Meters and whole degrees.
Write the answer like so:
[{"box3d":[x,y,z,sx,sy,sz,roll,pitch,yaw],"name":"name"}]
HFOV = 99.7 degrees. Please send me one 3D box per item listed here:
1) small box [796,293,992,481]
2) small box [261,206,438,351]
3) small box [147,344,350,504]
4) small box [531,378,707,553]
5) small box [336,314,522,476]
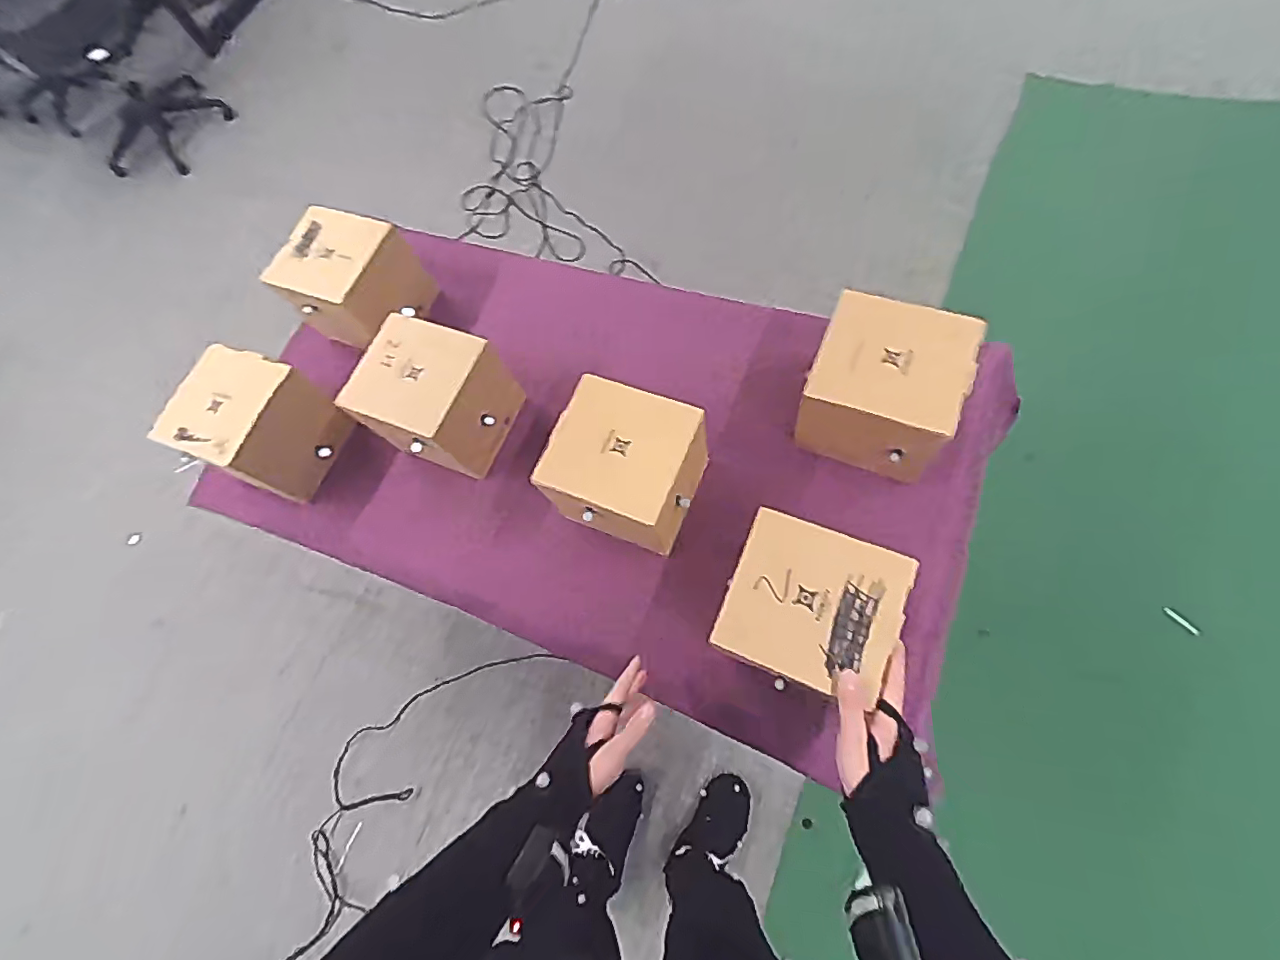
[{"box3d":[0.326,-0.114,0.726,0.179,0.176,0.168,21,76,17],"name":"small box"},{"box3d":[-0.498,-0.342,0.952,0.179,0.176,0.168,20,75,15],"name":"small box"},{"box3d":[-0.611,-0.085,0.874,0.168,0.176,0.179,17,72,15],"name":"small box"},{"box3d":[-0.015,-0.010,0.749,0.179,0.176,0.168,20,75,17],"name":"small box"},{"box3d":[-0.312,-0.123,0.839,0.179,0.176,0.168,20,74,16],"name":"small box"}]
